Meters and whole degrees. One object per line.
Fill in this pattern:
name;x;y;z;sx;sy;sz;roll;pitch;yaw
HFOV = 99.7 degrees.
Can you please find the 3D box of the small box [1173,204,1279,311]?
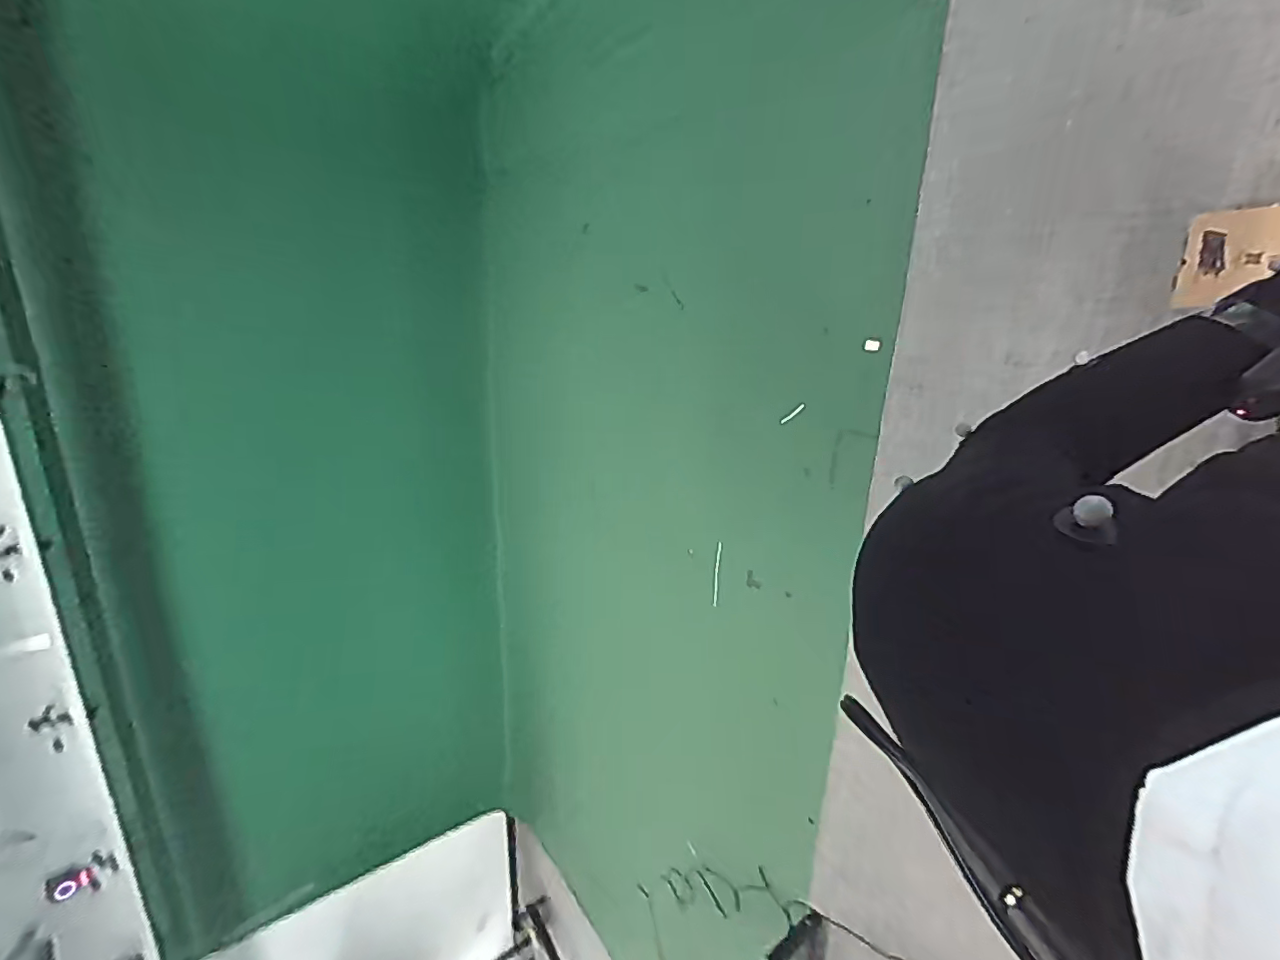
small box;1.143;-0.405;1.001;0.179;0.176;0.168;20;113;49
